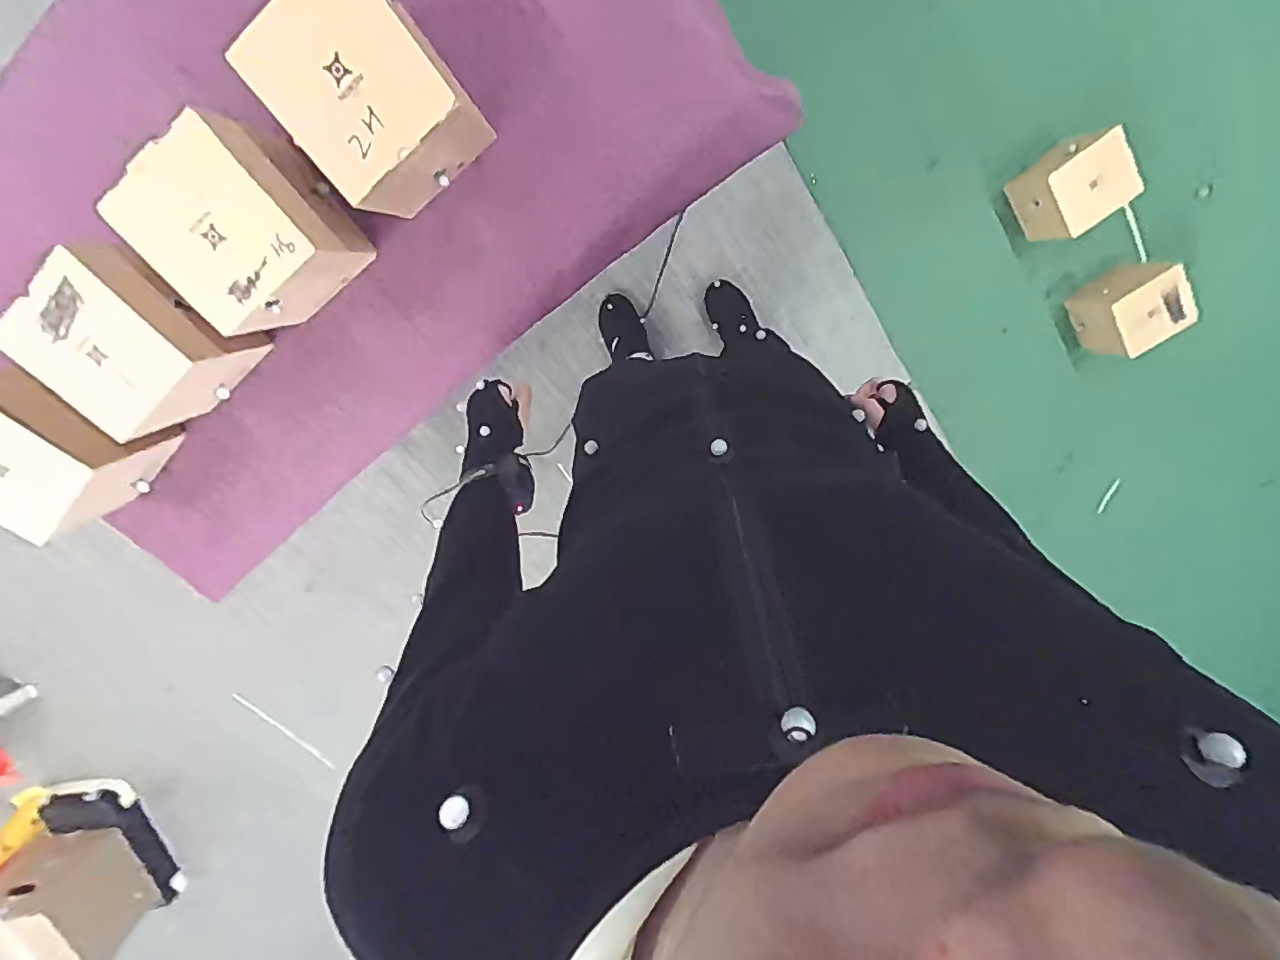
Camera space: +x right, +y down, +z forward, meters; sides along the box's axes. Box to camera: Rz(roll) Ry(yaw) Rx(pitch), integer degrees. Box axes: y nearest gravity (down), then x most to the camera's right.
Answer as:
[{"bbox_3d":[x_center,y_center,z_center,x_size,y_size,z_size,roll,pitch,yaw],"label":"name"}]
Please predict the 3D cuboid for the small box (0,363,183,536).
[{"bbox_3d":[-0.840,-0.058,0.785,0.168,0.176,0.179,-40,107,15],"label":"small box"}]

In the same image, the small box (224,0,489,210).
[{"bbox_3d":[-0.308,-0.444,0.630,0.168,0.176,0.179,-34,108,14],"label":"small box"}]

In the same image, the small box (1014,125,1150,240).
[{"bbox_3d":[1.053,-0.705,1.308,0.179,0.176,0.168,-36,107,12],"label":"small box"}]

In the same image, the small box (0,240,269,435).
[{"bbox_3d":[-0.666,-0.194,0.730,0.168,0.176,0.179,-36,109,14],"label":"small box"}]
